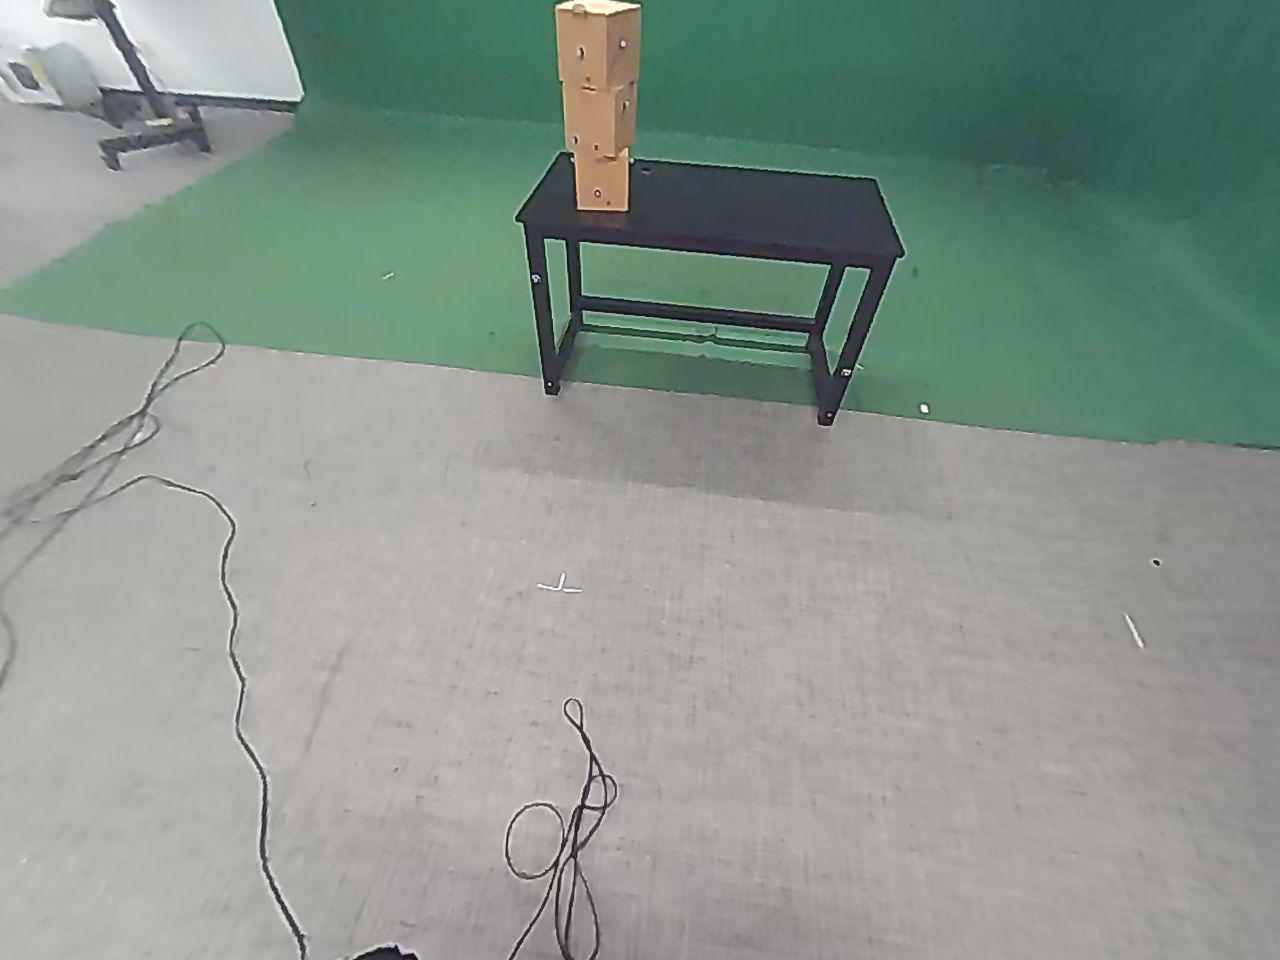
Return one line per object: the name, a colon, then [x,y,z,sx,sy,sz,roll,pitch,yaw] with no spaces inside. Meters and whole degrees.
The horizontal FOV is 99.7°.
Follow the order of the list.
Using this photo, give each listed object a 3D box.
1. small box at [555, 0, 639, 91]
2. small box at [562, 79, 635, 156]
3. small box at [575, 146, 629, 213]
small box: [-0.115,-1.217,1.515,0.168,0.176,0.179,27,54,18]
small box: [-0.120,-1.103,1.634,0.168,0.176,0.179,18,50,11]
small box: [-0.123,-0.995,1.757,0.168,0.176,0.179,1,50,-2]
